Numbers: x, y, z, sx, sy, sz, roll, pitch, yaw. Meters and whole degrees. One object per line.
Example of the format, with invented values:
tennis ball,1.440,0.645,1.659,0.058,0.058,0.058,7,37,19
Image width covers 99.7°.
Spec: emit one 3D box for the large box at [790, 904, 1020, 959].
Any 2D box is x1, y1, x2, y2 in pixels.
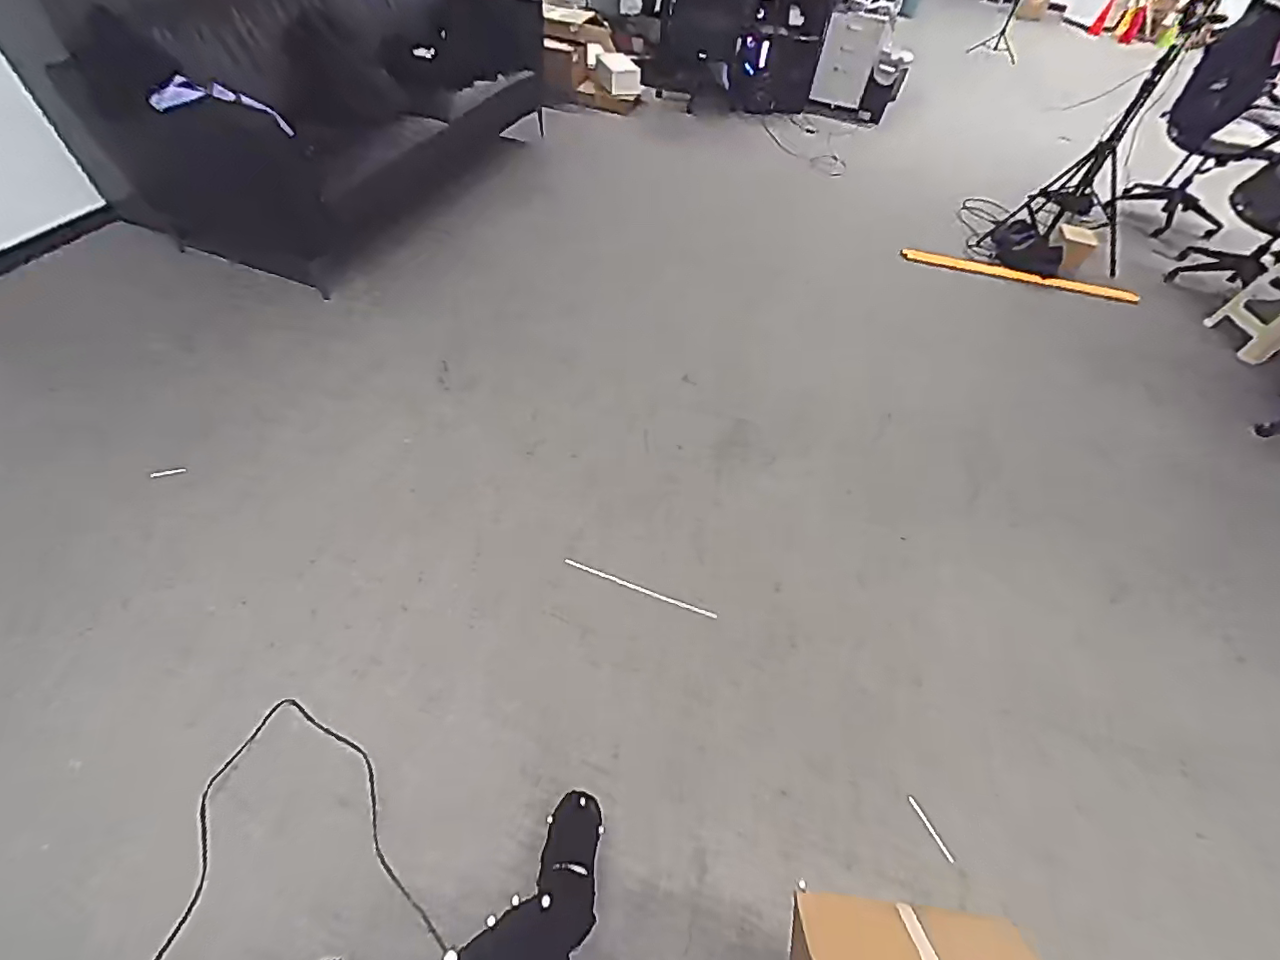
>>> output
large box,0.360,0.806,0.615,0.320,0.408,0.320,6,90,4
